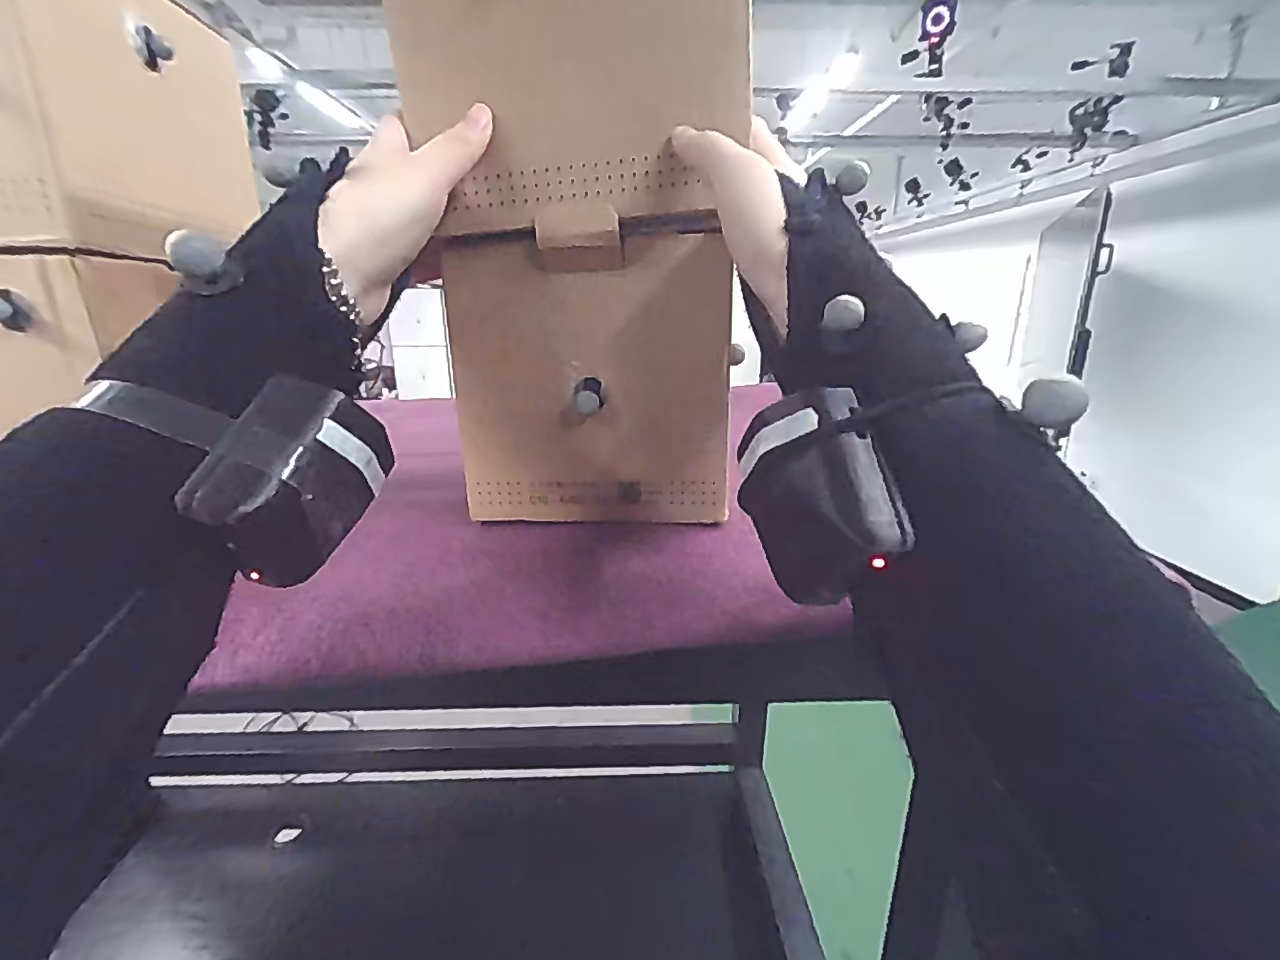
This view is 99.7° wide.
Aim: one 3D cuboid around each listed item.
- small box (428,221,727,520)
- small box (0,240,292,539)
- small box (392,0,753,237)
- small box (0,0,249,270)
[{"bbox_3d":[-0.024,-0.075,0.387,0.168,0.176,0.179,0,16,6],"label":"small box"},{"bbox_3d":[-0.386,-0.064,0.376,0.179,0.176,0.168,-1,16,-2],"label":"small box"},{"bbox_3d":[-0.030,-0.237,0.322,0.179,0.176,0.168,-3,19,6],"label":"small box"},{"bbox_3d":[-0.380,-0.219,0.330,0.168,0.176,0.179,0,15,-4],"label":"small box"}]
